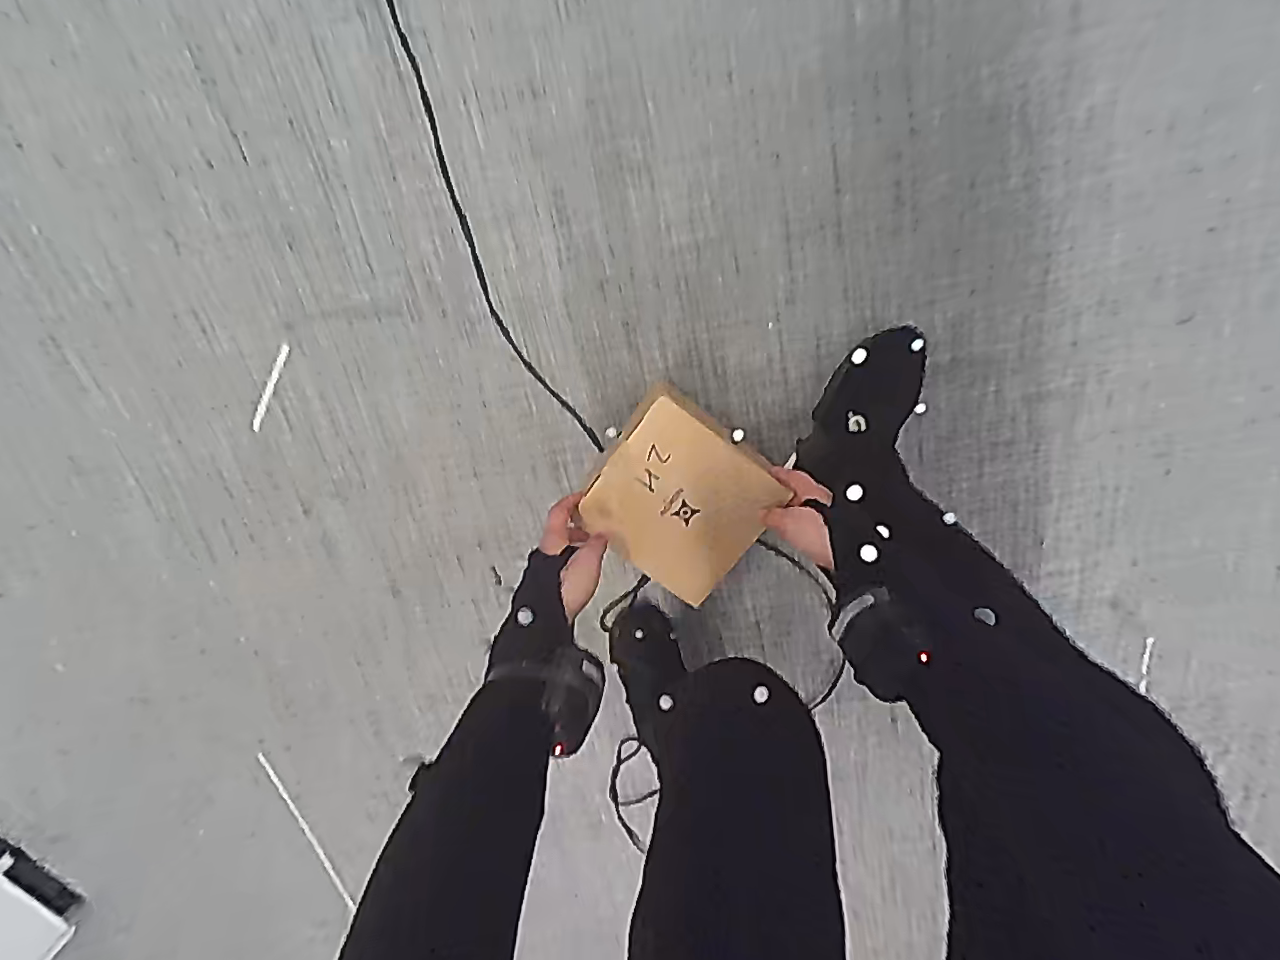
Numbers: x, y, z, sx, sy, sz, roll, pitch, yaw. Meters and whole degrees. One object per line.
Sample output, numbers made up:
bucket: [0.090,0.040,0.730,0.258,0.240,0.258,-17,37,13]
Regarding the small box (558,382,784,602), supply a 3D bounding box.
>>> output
small box: [0.033,0.000,0.626,0.179,0.176,0.168,35,103,-7]
